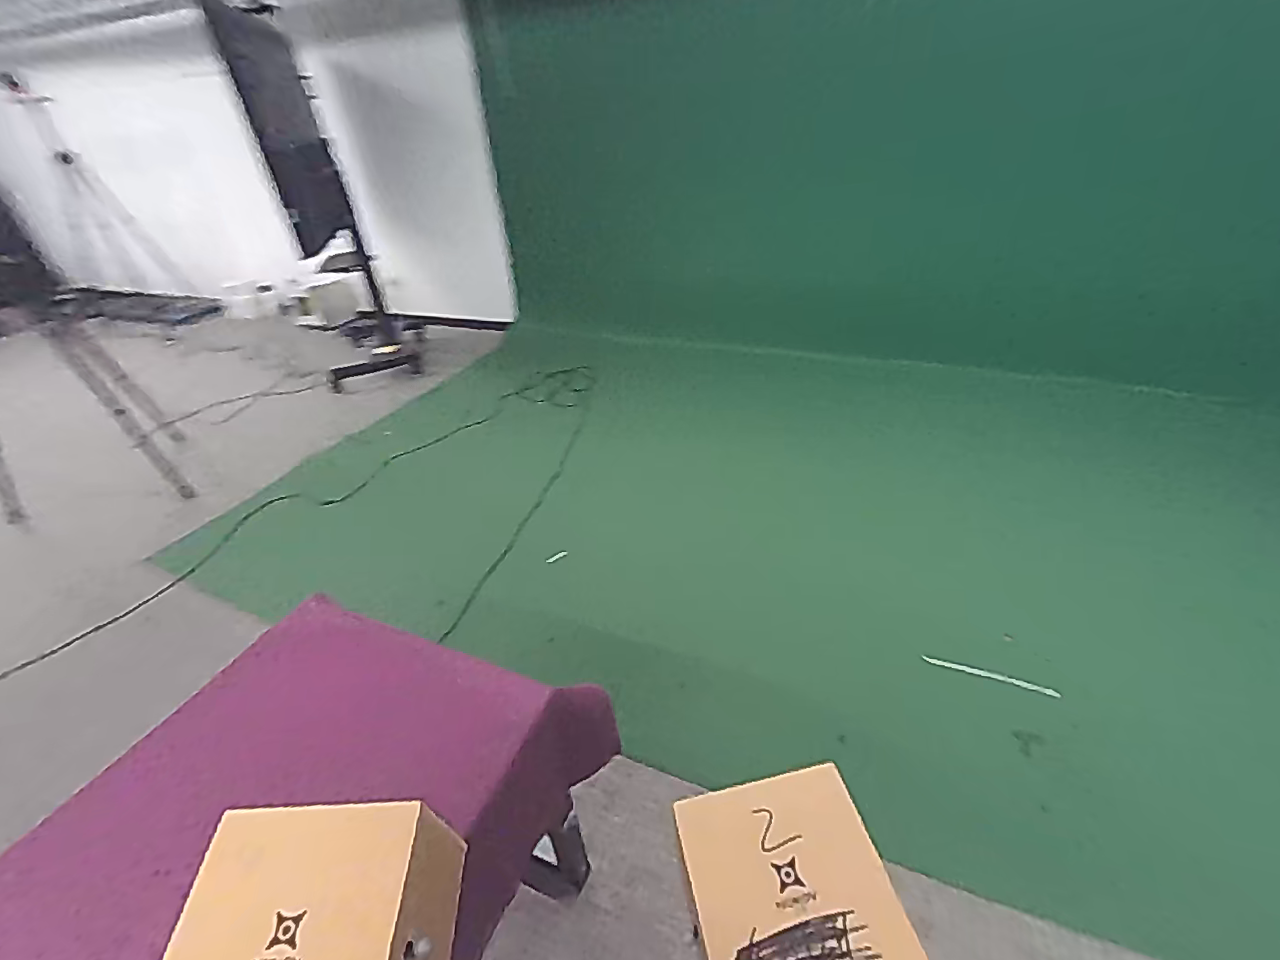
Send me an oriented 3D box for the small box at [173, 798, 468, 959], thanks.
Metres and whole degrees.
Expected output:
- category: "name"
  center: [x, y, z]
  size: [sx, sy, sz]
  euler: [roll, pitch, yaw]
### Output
- category: "small box"
  center: [-0.255, 0.390, 0.459]
  size: [0.168, 0.176, 0.179]
  euler: [0, 47, -1]
